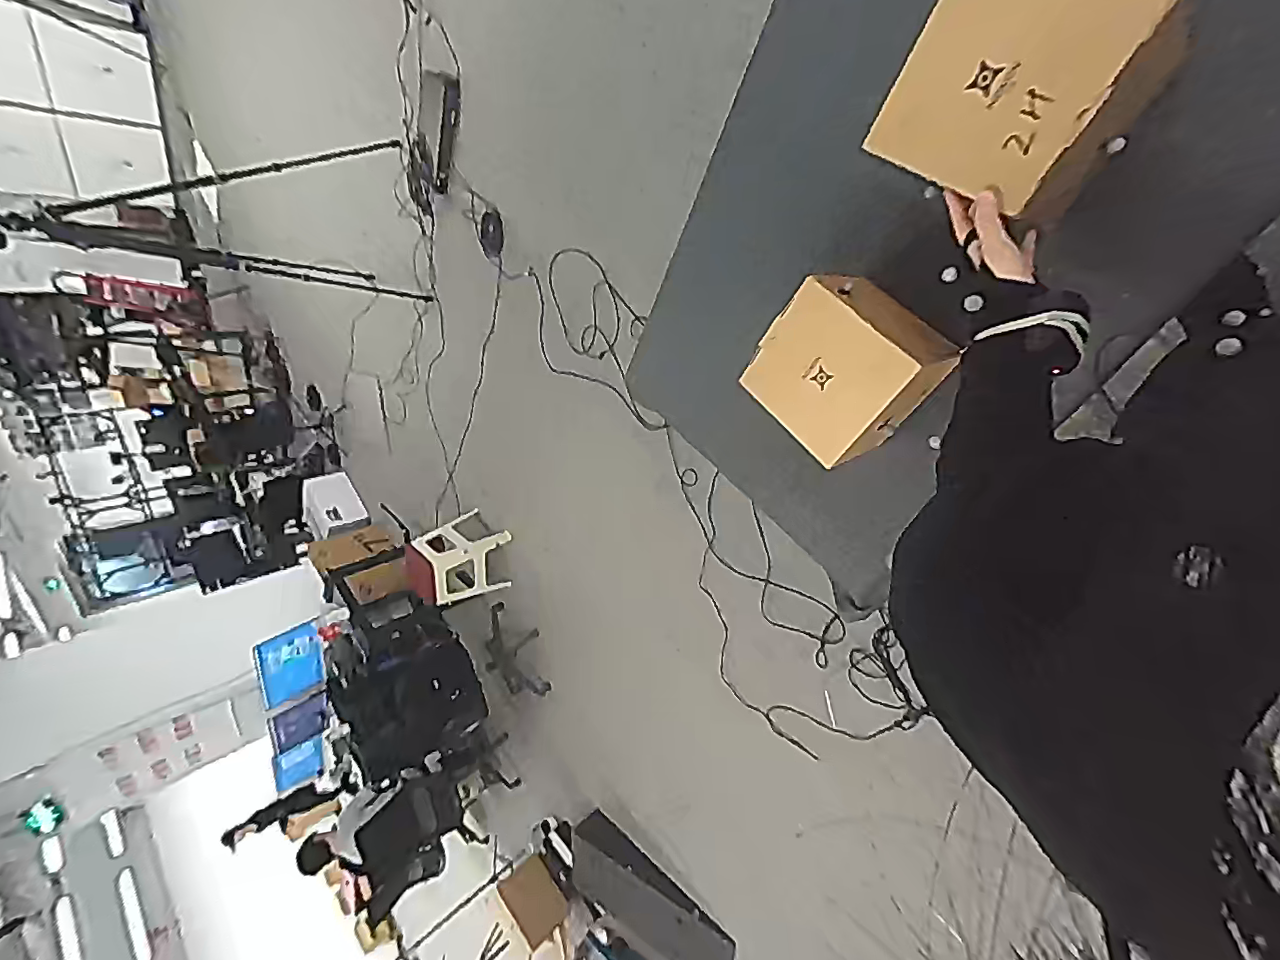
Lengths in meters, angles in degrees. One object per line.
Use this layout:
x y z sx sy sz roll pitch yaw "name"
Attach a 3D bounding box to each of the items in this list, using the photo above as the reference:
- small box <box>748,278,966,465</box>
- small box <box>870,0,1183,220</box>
0.286 -0.150 0.717 0.179 0.176 0.168 50 134 23 "small box"
0.378 -0.377 0.541 0.179 0.176 0.168 45 132 25 "small box"
